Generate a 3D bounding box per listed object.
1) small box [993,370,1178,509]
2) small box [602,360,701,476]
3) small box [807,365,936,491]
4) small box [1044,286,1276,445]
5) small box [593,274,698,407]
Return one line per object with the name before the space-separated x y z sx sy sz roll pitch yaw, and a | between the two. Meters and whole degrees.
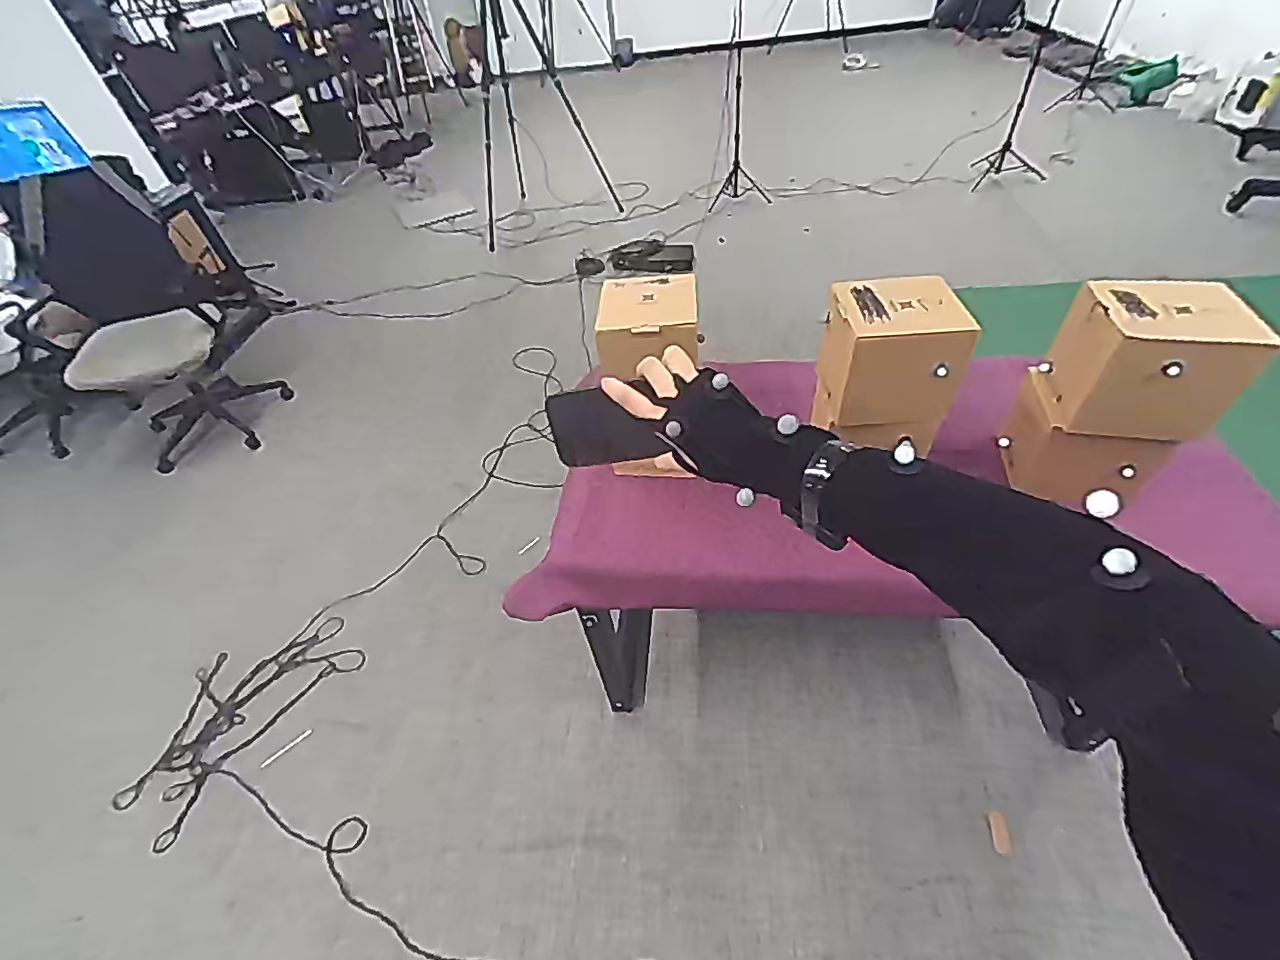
small box | 0.747 -0.068 0.931 0.179 0.176 0.168 7 47 14
small box | 0.032 -0.124 1.077 0.168 0.176 0.179 3 47 10
small box | 0.414 -0.093 0.997 0.179 0.176 0.168 2 47 10
small box | 0.738 -0.169 0.802 0.179 0.176 0.168 7 48 13
small box | 0.018 -0.243 0.964 0.168 0.176 0.179 -1 47 6
